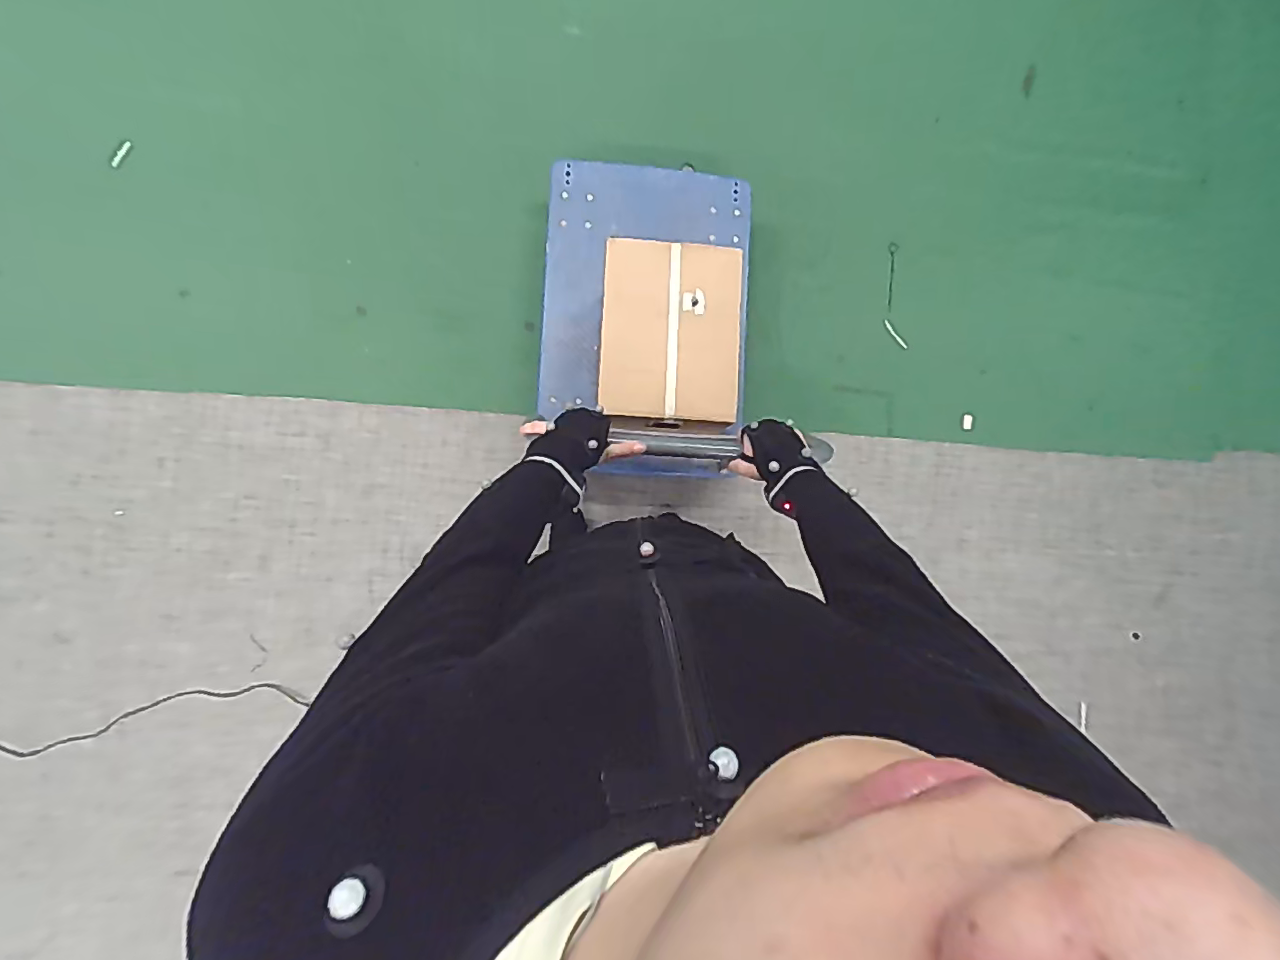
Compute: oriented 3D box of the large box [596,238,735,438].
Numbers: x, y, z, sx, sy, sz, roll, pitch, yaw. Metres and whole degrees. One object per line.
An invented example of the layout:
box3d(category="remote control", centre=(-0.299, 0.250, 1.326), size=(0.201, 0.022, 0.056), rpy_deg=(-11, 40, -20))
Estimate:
box3d(category="large box", centre=(0.048, -0.326, 1.353), size=(0.320, 0.320, 0.408), rpy_deg=(3, 85, -6))
